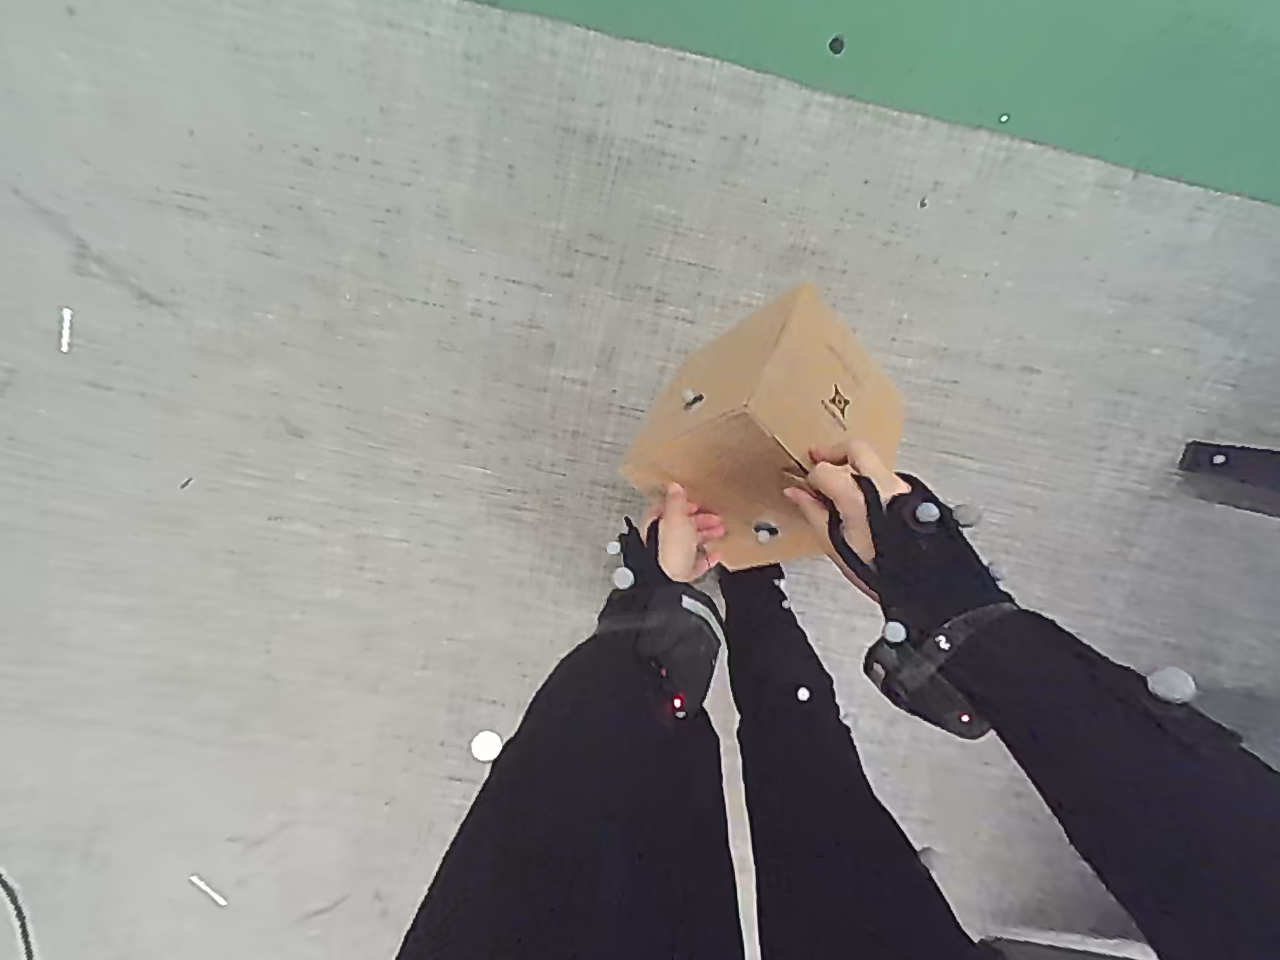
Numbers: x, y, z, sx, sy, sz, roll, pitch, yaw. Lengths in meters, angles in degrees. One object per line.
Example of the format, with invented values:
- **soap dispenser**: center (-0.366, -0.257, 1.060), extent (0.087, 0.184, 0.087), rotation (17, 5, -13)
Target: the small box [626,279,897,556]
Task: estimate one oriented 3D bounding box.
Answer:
- **small box**: center (0.111, -0.046, 0.520), extent (0.168, 0.176, 0.179), rotation (42, 56, -19)
